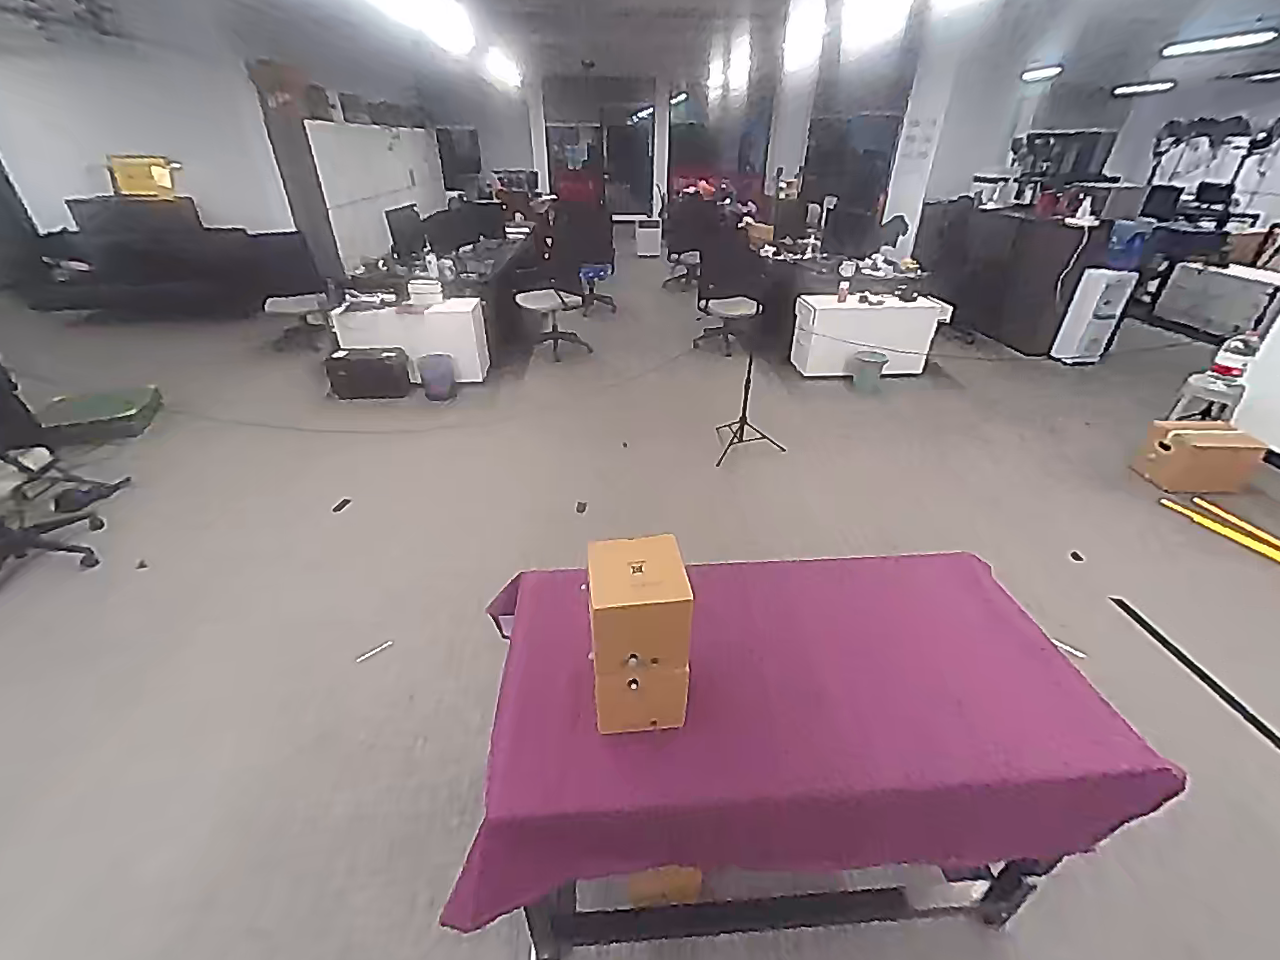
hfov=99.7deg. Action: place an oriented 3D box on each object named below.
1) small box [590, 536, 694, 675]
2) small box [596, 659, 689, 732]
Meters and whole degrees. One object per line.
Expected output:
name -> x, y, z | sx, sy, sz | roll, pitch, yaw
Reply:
small box -> -0.005, 0.221, 0.971 | 0.168, 0.176, 0.179 | -3, 32, -6
small box -> -0.002, 0.361, 1.056 | 0.168, 0.176, 0.179 | -2, 32, -5
